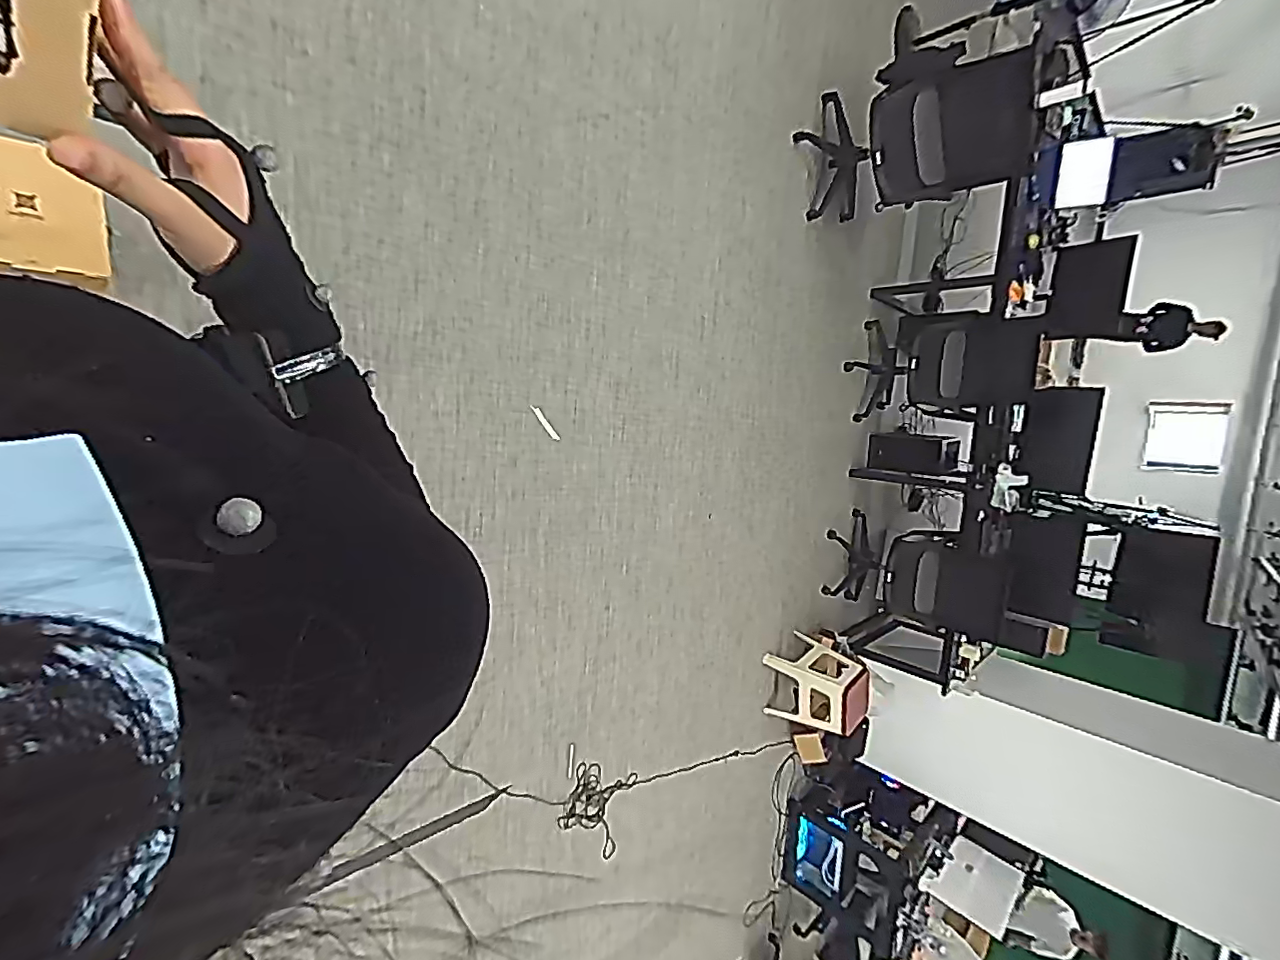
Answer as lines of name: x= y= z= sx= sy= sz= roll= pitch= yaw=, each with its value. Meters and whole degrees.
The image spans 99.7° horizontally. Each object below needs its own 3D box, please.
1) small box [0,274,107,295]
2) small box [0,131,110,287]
small box: x=-1.044 y=-0.426 z=0.933 sx=0.168 sy=0.176 sz=0.179 roll=-8 pitch=102 yaw=-45
small box: x=-0.929 y=-0.405 z=0.819 sx=0.168 sy=0.176 sz=0.179 roll=-5 pitch=102 yaw=-45
